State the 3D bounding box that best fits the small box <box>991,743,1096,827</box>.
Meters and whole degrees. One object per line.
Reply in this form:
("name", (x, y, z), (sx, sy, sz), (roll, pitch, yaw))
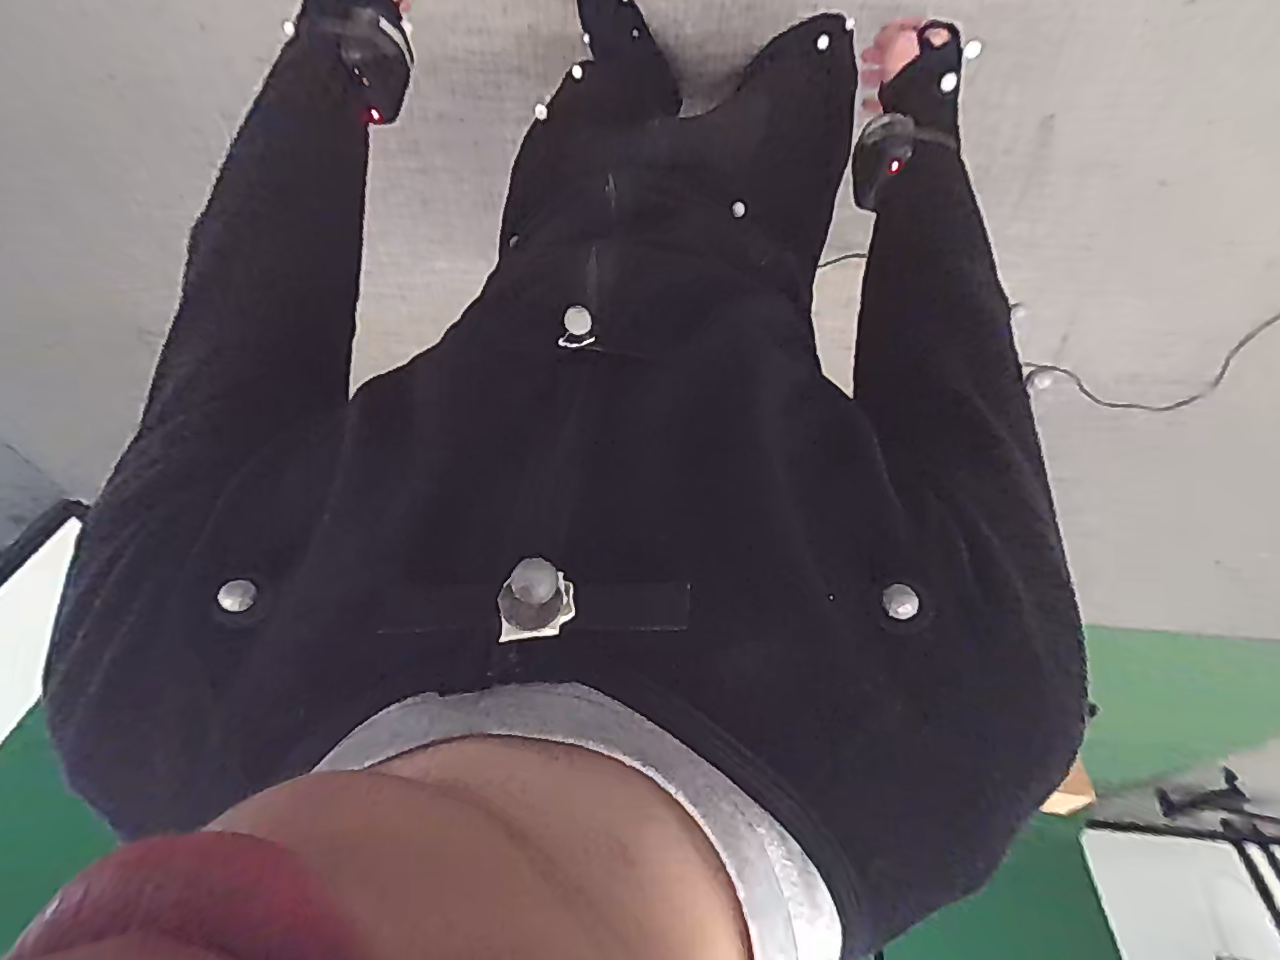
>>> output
("small box", (1.159, 0.888, 1.575), (0.168, 0.176, 0.179), (3, 136, 5))
